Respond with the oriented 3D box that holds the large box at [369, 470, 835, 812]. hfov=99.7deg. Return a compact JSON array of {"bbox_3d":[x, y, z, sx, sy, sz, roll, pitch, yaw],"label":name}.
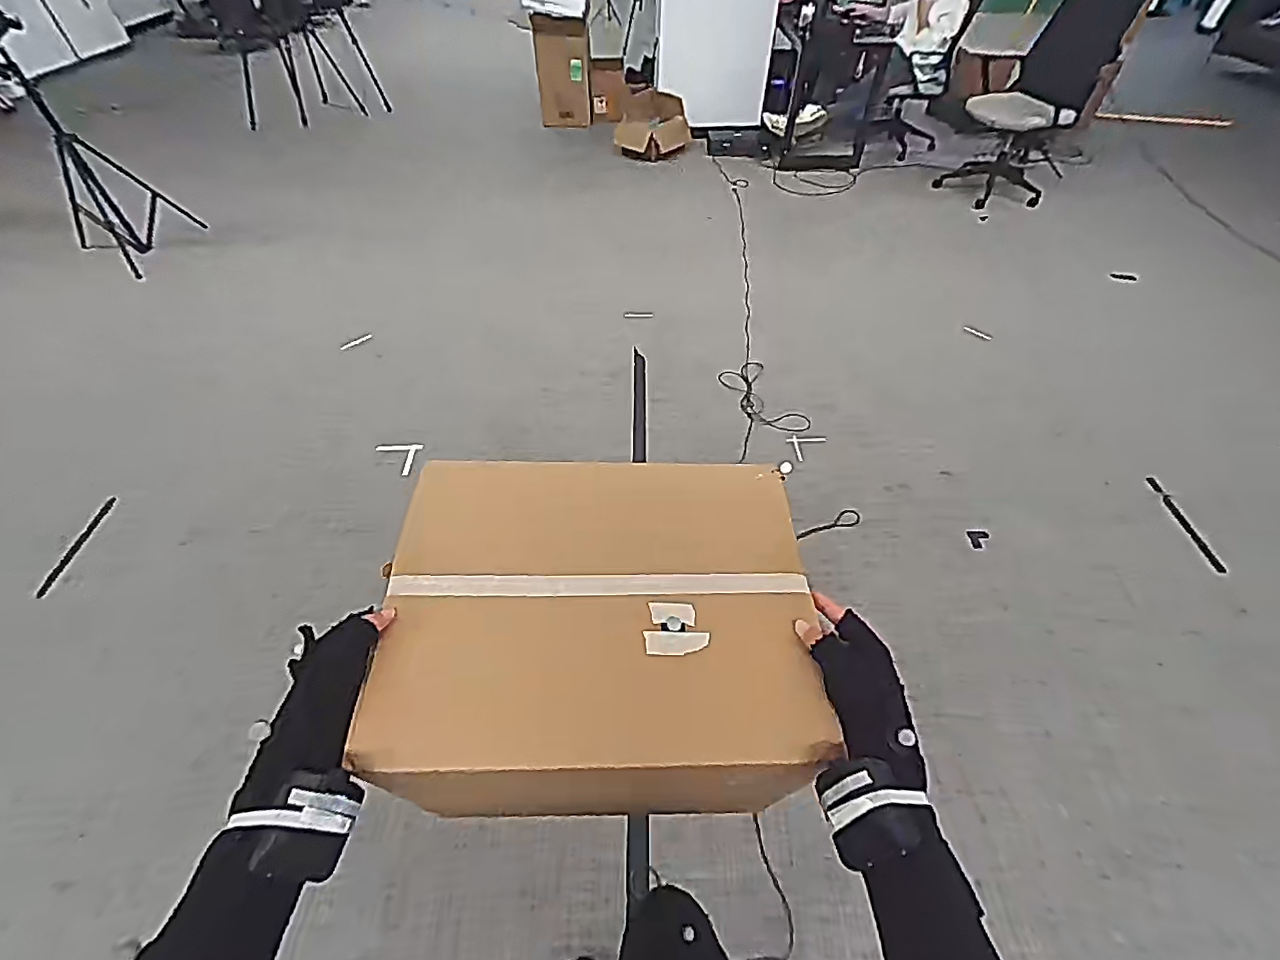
[{"bbox_3d":[-0.041,0.202,0.662,0.408,0.320,0.320,1,53,-3],"label":"large box"}]
